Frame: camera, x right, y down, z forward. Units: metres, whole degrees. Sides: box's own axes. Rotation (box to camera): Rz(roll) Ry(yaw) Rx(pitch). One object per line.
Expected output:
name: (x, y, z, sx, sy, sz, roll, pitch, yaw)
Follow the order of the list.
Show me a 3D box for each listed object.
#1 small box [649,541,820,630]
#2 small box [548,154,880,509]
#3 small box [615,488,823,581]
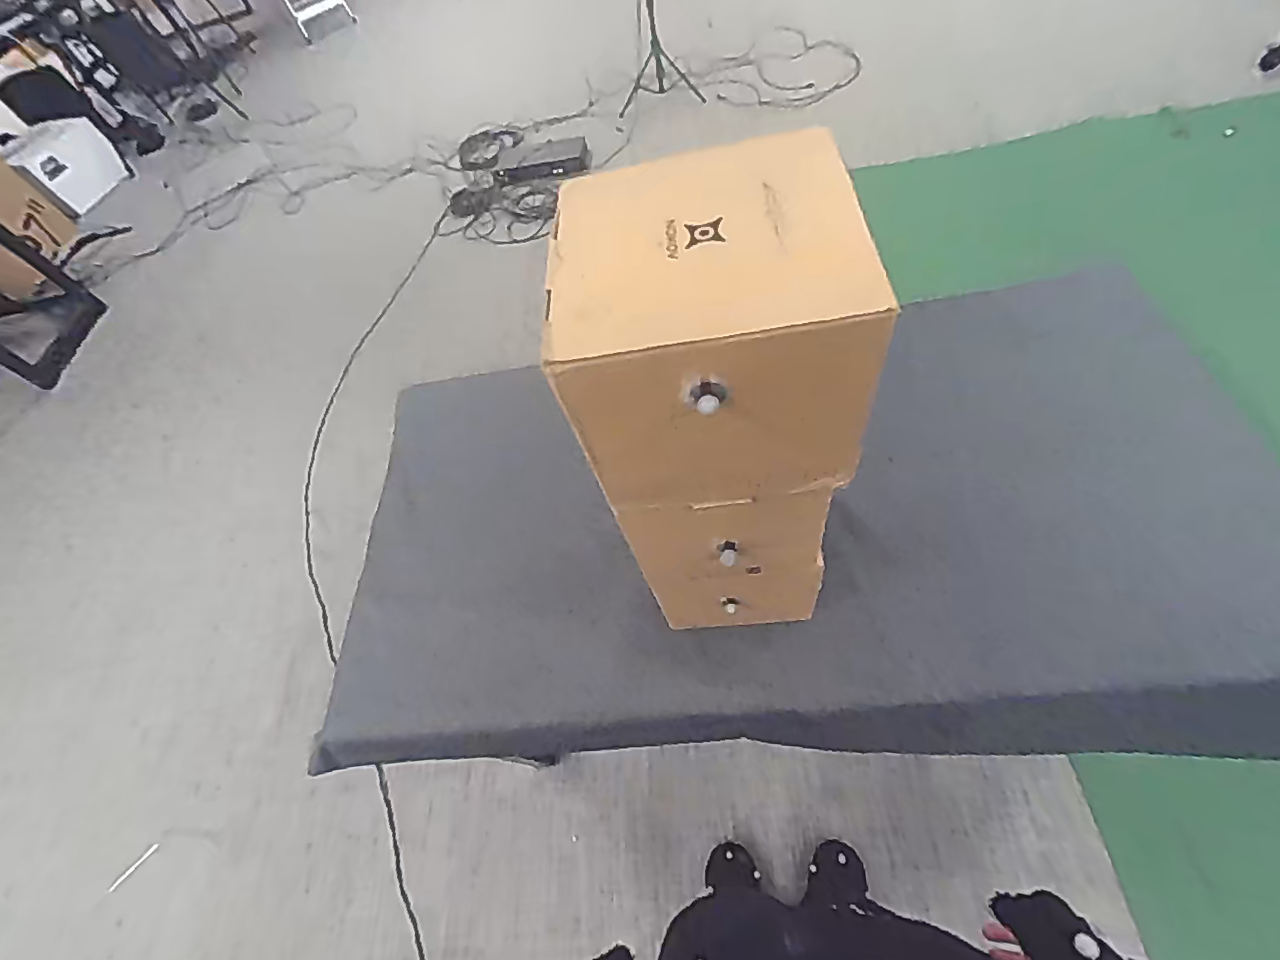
small box: (0.109, 0.075, 0.660, 0.179, 0.176, 0.168, -7, 56, 9)
small box: (0.049, -0.091, 0.387, 0.179, 0.176, 0.168, -7, 58, 8)
small box: (0.073, -0.010, 0.526, 0.168, 0.176, 0.179, -8, 57, 8)
